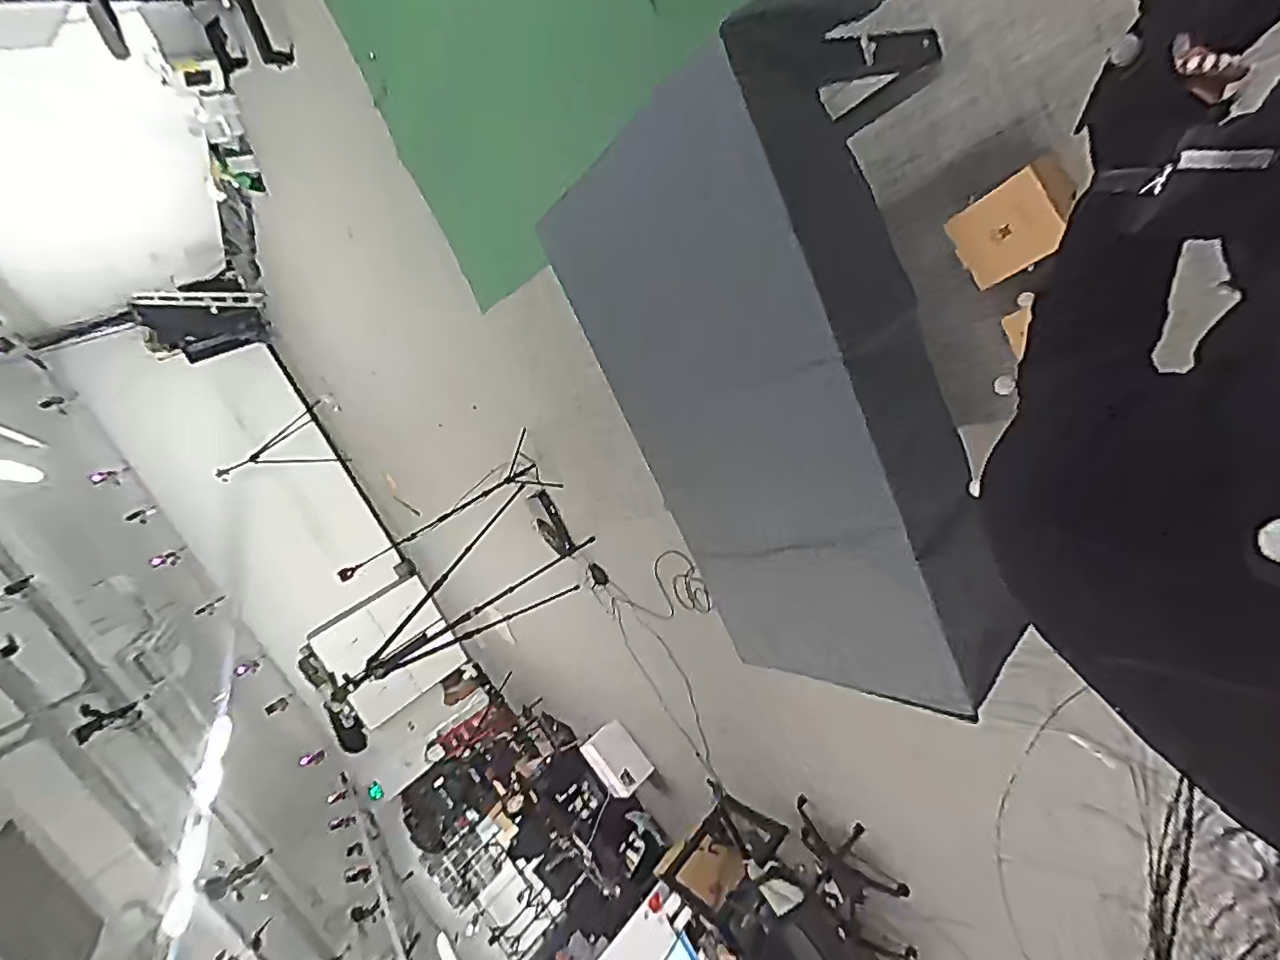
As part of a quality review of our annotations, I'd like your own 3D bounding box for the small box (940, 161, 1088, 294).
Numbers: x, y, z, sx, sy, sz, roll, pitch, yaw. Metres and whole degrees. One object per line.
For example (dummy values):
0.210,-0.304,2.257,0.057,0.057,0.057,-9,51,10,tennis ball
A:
0.780,-0.524,1.127,0.168,0.176,0.179,57,149,-3,small box
